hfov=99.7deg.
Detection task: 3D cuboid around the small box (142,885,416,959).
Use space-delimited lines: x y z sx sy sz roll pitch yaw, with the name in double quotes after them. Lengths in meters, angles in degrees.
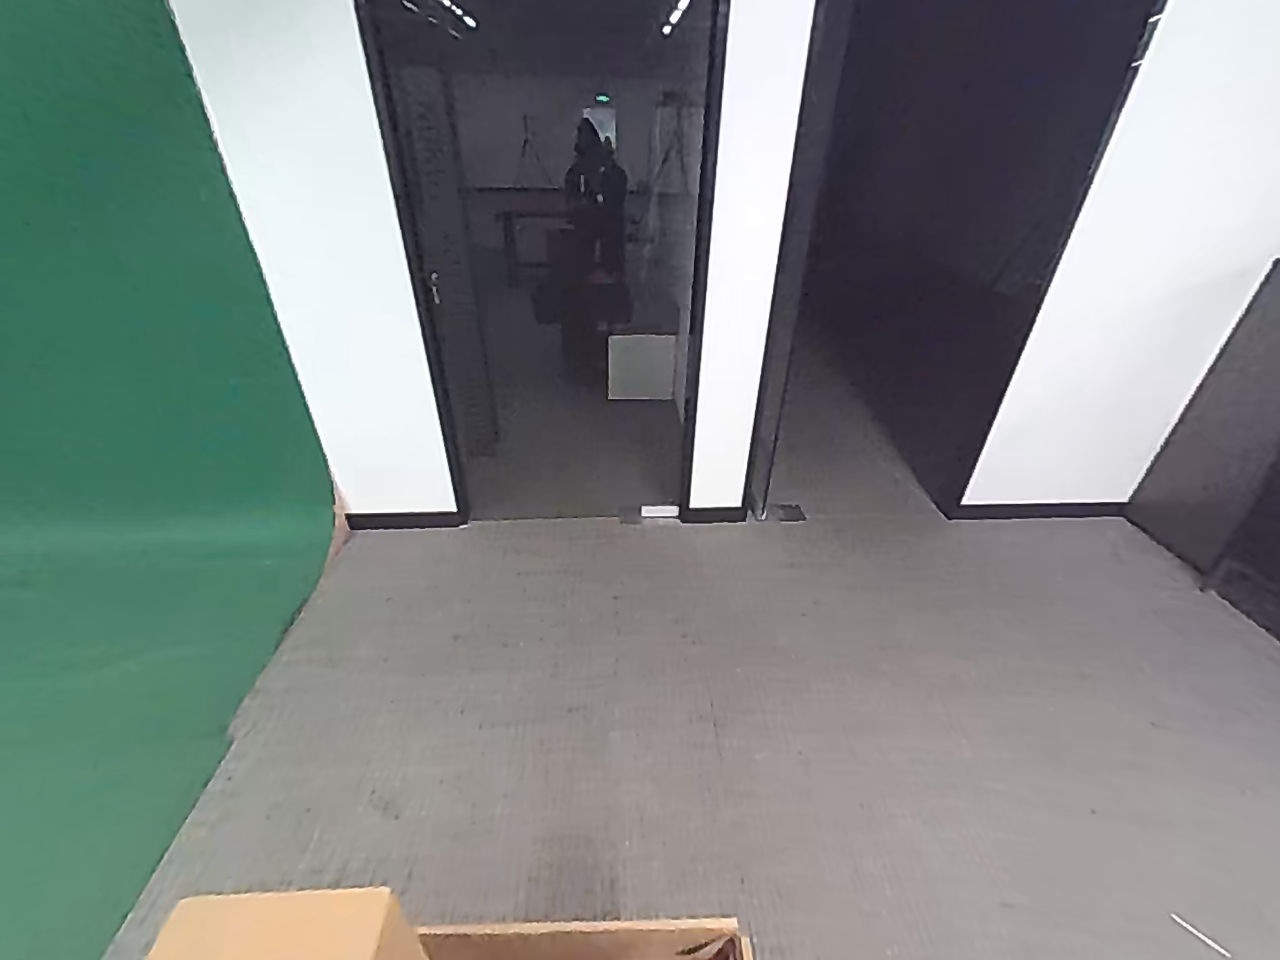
-0.279 0.439 0.400 0.168 0.176 0.179 -1 33 -3 "small box"
